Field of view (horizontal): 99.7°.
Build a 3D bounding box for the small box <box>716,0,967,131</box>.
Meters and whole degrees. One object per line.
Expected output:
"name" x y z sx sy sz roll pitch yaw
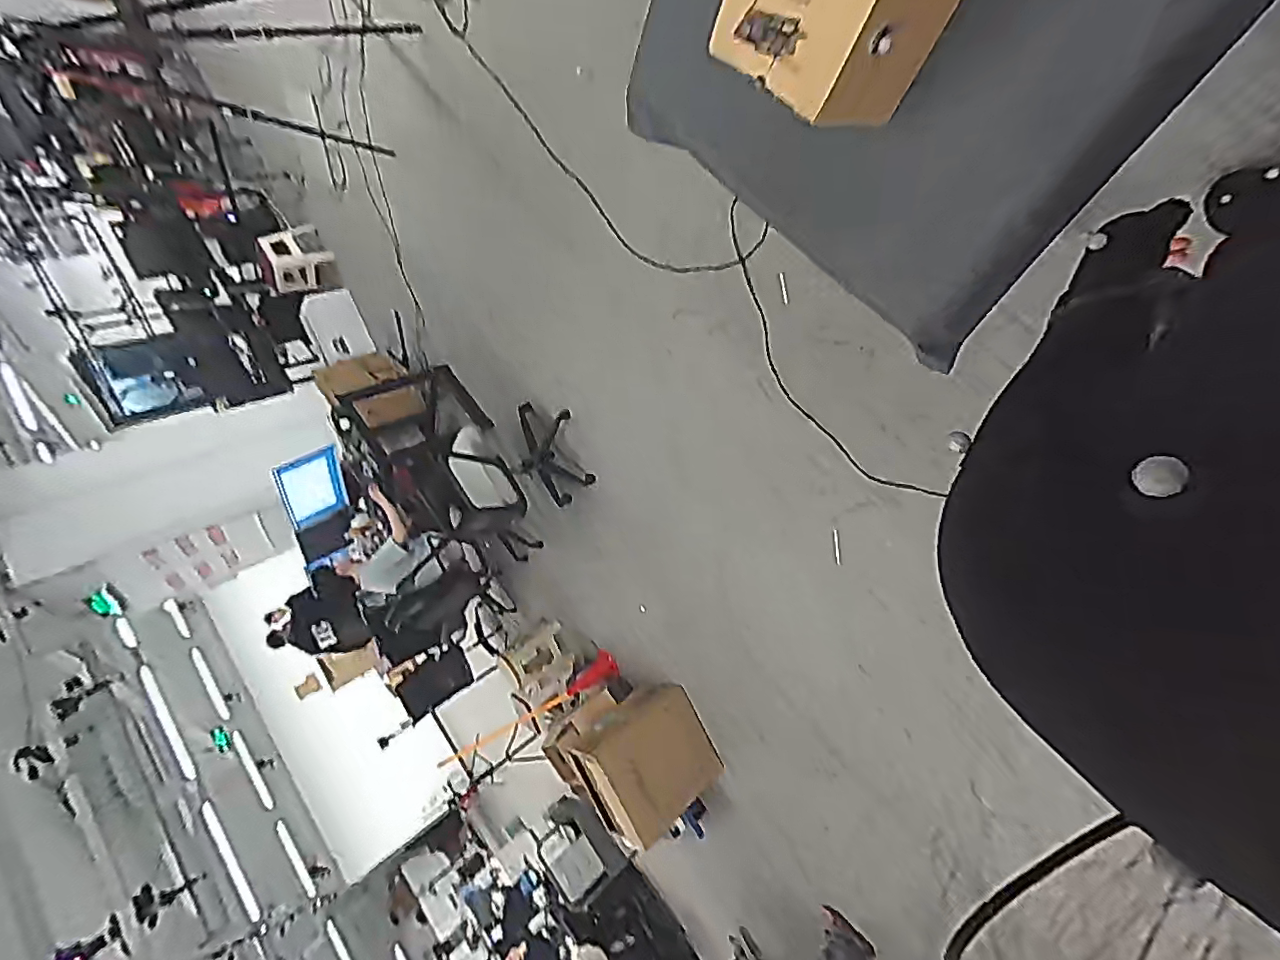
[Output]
"small box" 0.218 -0.498 0.566 0.168 0.176 0.179 48 142 18
